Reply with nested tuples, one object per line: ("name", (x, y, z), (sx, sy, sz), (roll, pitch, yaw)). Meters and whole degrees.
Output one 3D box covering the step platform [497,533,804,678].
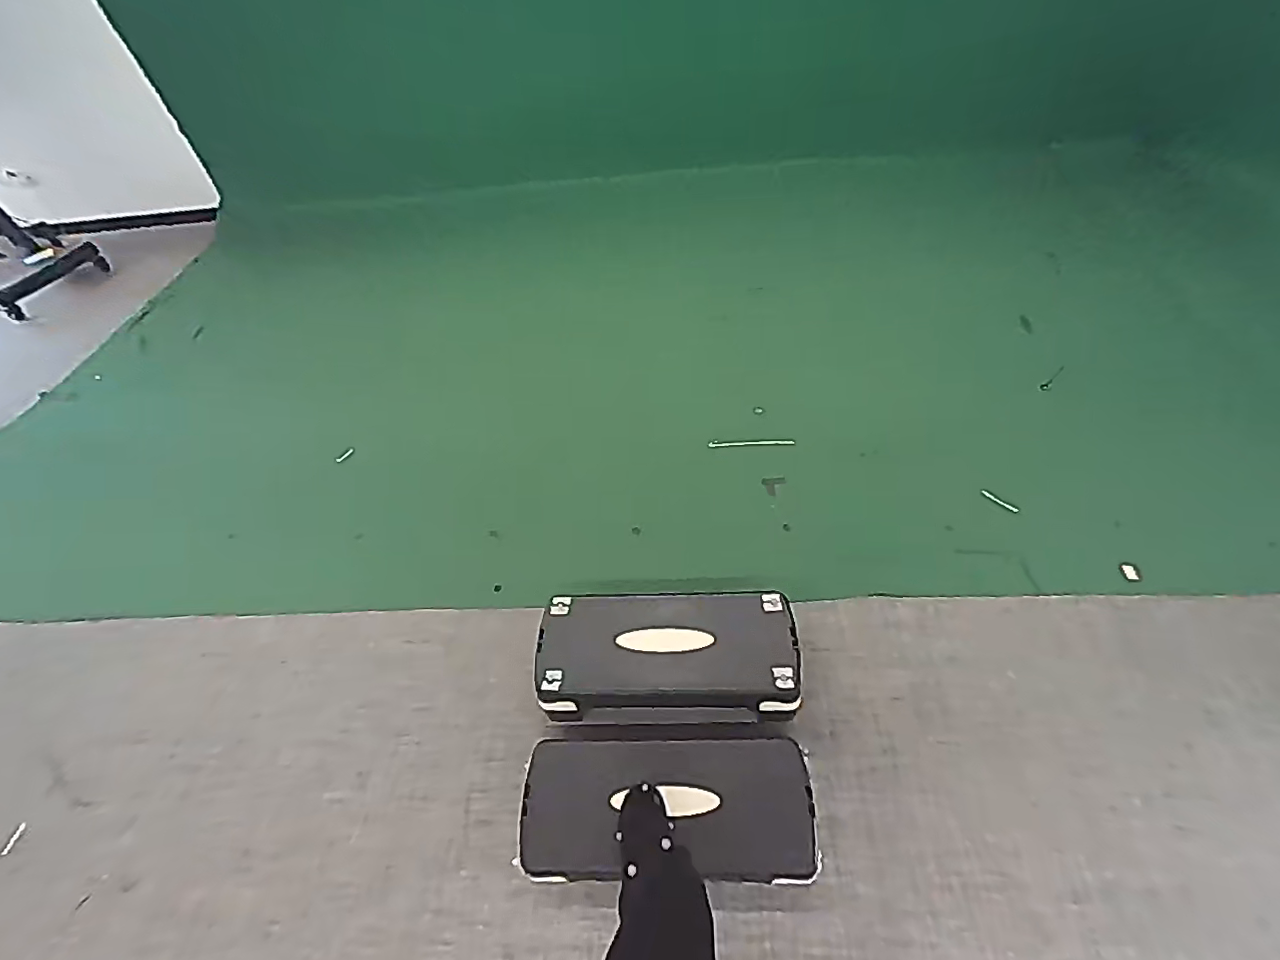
("step platform", (0.026, 0.304, 1.292), (0.684, 0.204, 0.286), (-3, 51, 5))
